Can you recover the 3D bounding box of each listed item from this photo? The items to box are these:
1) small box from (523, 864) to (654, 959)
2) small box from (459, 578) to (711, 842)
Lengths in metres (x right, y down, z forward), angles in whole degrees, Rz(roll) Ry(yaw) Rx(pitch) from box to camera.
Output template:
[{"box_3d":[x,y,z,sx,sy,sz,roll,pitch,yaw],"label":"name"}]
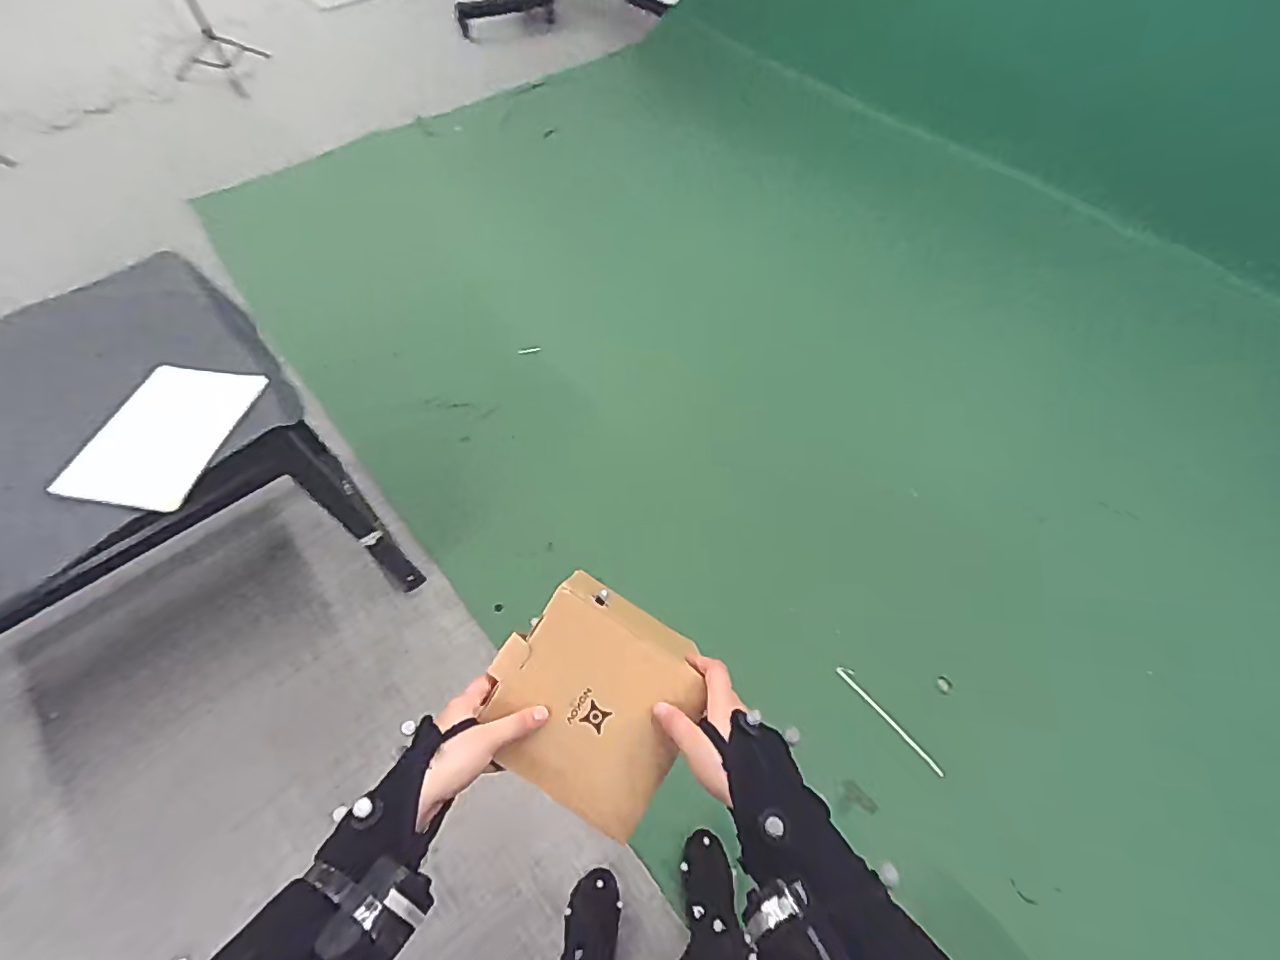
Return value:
[{"box_3d":[-0.092,0.899,1.034,0.179,0.168,0.176,-19,88,-38],"label":"small box"},{"box_3d":[-0.050,0.218,0.569,0.179,0.176,0.168,31,86,2],"label":"small box"}]
